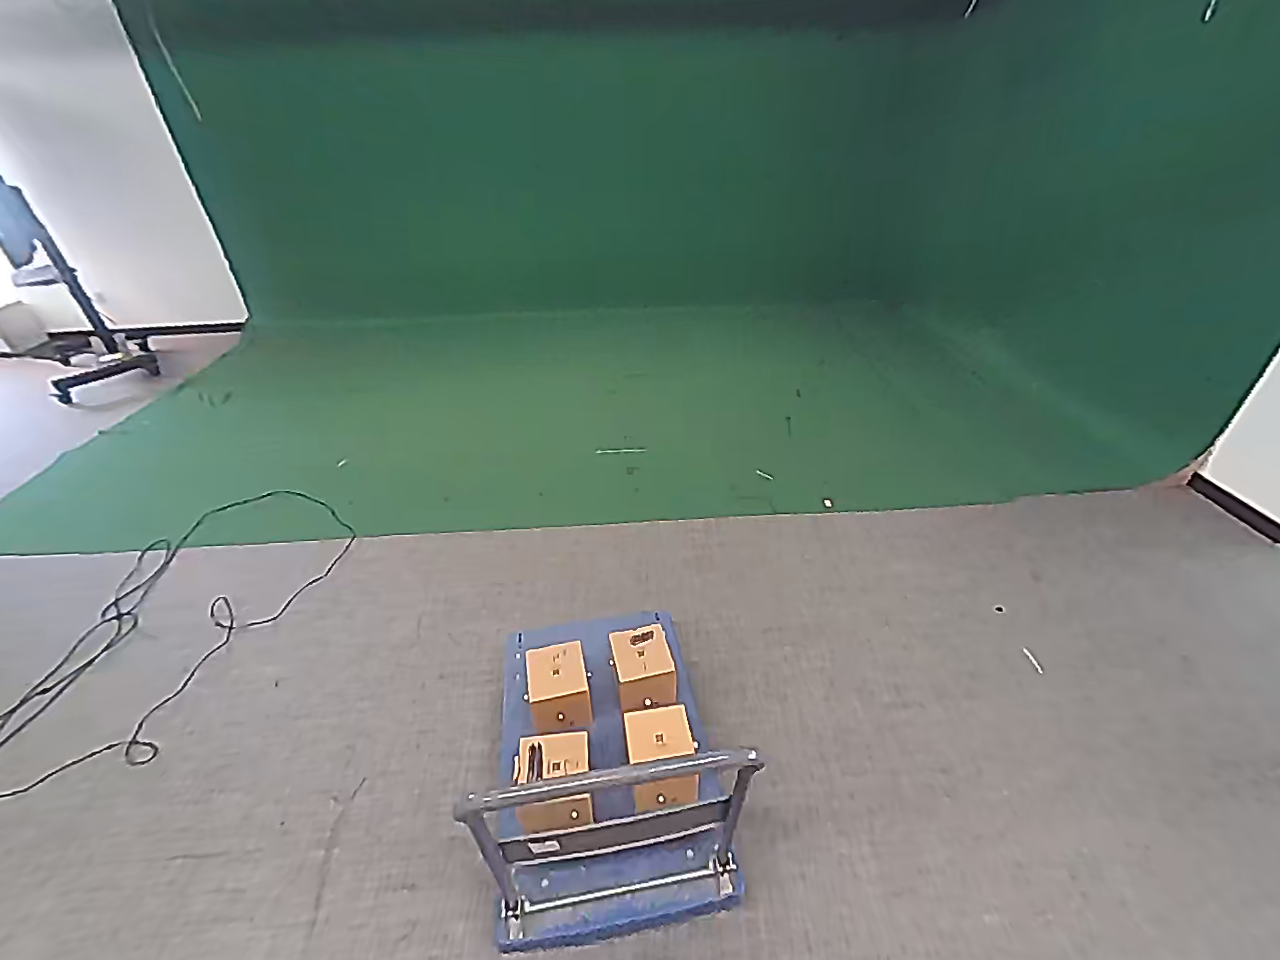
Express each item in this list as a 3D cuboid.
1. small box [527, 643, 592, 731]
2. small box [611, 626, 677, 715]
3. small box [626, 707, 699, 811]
[{"bbox_3d":[-0.237,0.613,1.590,0.168,0.176,0.179,-8,36,-10],"label":"small box"},{"bbox_3d":[0.009,0.574,1.634,0.168,0.176,0.179,-9,38,-9],"label":"small box"},{"bbox_3d":[0.053,0.731,1.418,0.168,0.176,0.179,-6,36,-6],"label":"small box"}]
